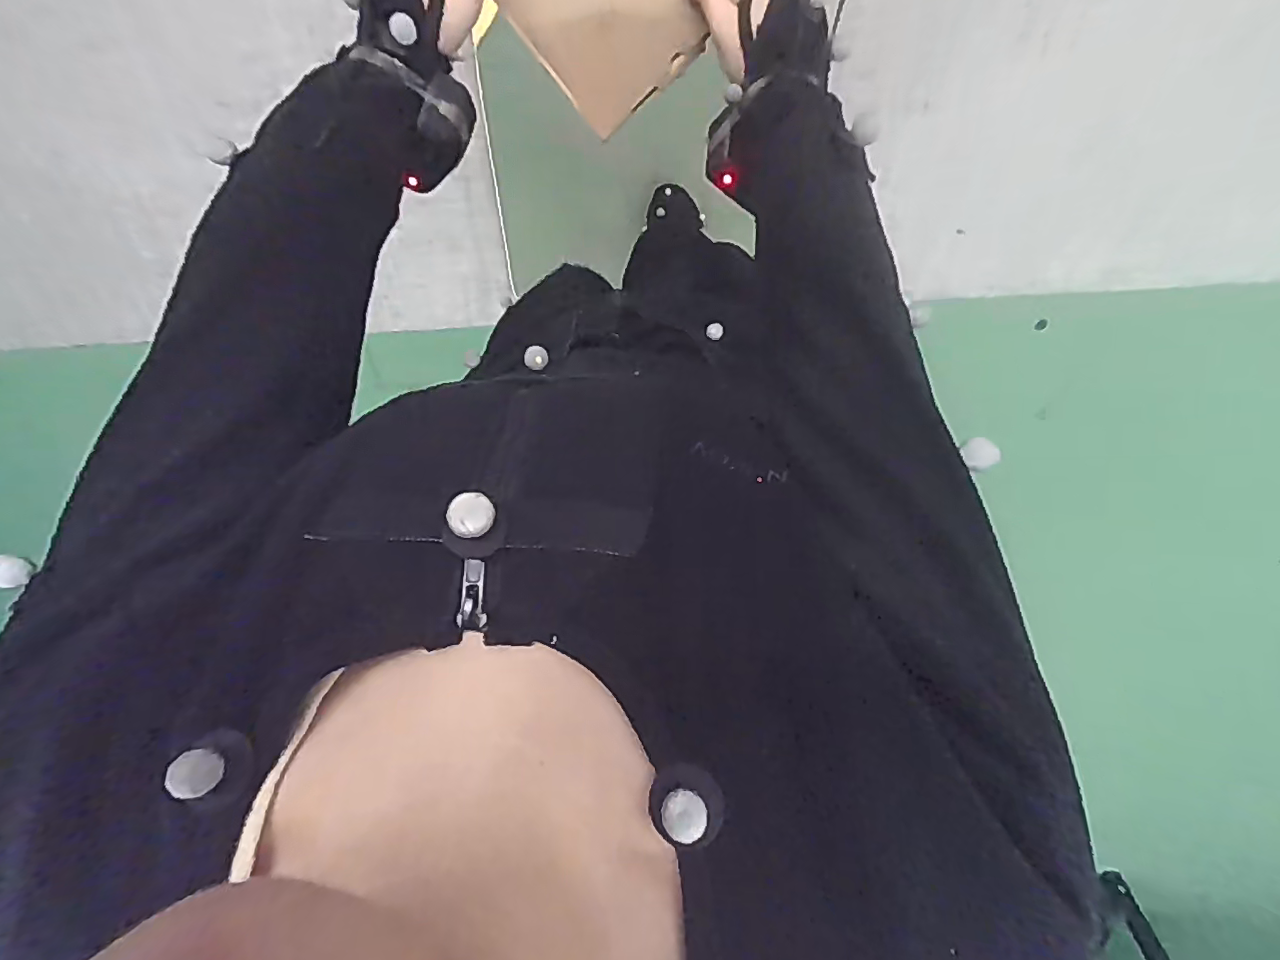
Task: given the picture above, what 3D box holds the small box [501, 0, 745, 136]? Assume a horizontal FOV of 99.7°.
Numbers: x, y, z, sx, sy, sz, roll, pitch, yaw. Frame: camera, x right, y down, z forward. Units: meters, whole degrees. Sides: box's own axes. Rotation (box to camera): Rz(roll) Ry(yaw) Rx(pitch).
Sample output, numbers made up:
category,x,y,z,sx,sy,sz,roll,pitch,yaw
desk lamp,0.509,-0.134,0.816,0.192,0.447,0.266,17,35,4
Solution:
category,x,y,z,sx,sy,sz,roll,pitch,yaw
small box,-0.024,-0.433,0.442,0.168,0.176,0.179,-33,124,25
